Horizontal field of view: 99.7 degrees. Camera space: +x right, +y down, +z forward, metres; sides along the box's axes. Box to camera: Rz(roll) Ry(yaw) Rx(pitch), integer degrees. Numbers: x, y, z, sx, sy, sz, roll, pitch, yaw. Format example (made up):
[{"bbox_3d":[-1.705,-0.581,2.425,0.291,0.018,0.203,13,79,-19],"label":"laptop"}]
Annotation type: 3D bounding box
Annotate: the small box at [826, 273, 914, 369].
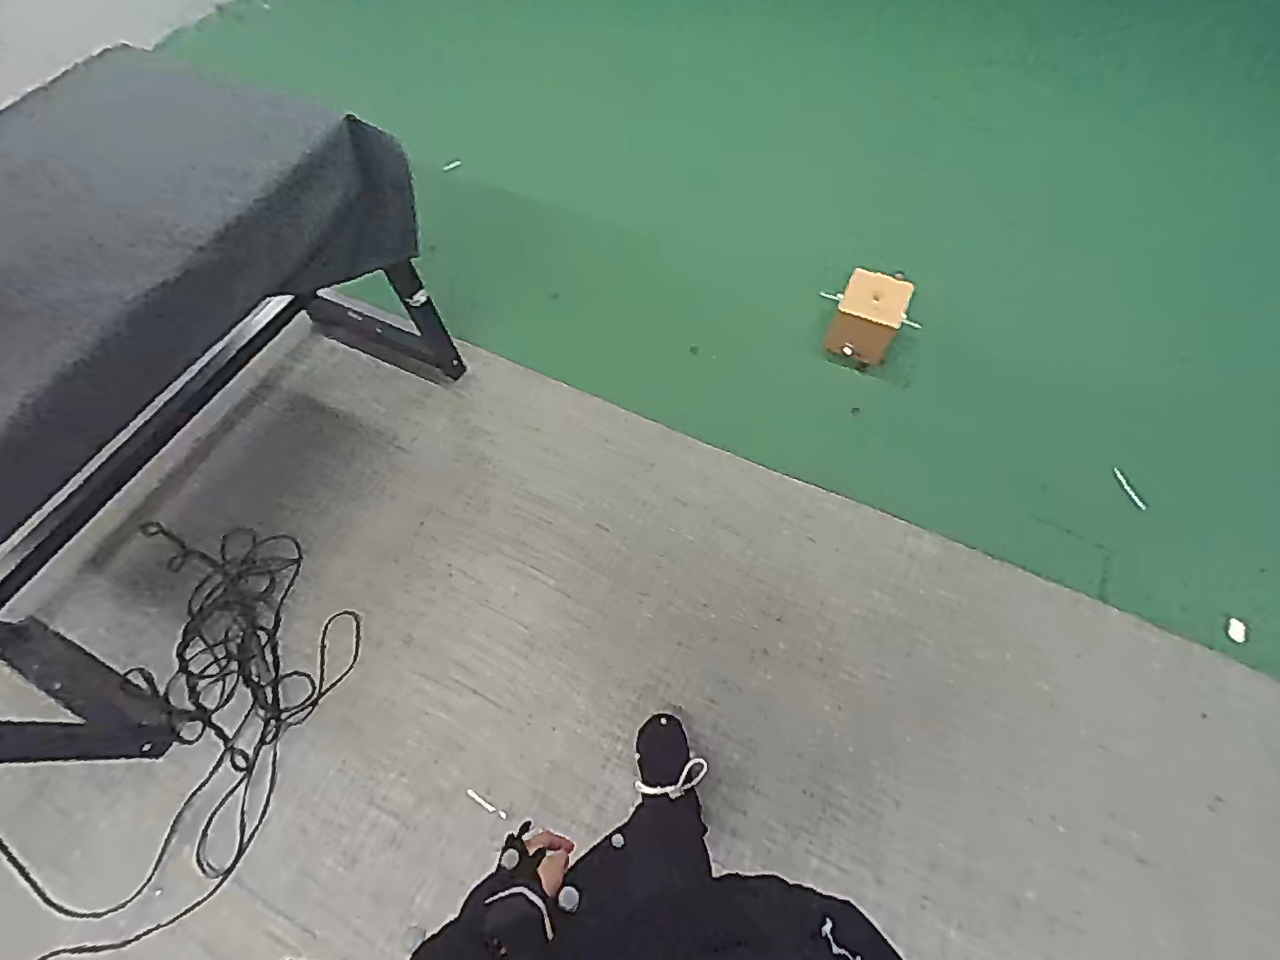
[{"bbox_3d":[0.657,-0.456,1.562,0.168,0.176,0.179,23,67,14],"label":"small box"}]
